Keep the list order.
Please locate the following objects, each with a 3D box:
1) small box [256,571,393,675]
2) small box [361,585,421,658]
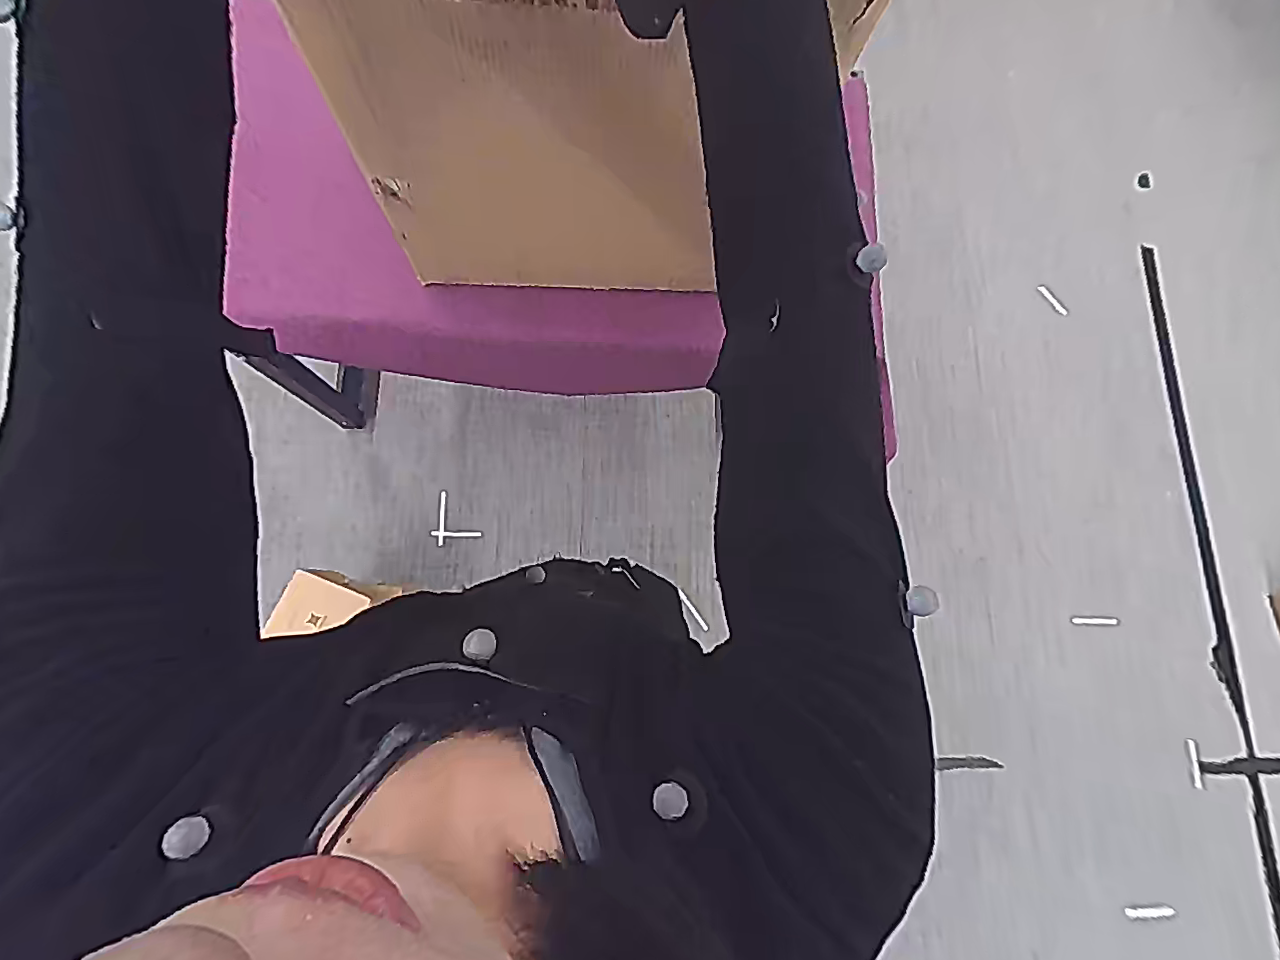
[{"bbox_3d":[-0.683,0.310,1.197,0.179,0.176,0.168,23,76,-1],"label":"small box"},{"bbox_3d":[-0.672,0.350,1.357,0.179,0.176,0.168,4,79,-6],"label":"small box"}]
